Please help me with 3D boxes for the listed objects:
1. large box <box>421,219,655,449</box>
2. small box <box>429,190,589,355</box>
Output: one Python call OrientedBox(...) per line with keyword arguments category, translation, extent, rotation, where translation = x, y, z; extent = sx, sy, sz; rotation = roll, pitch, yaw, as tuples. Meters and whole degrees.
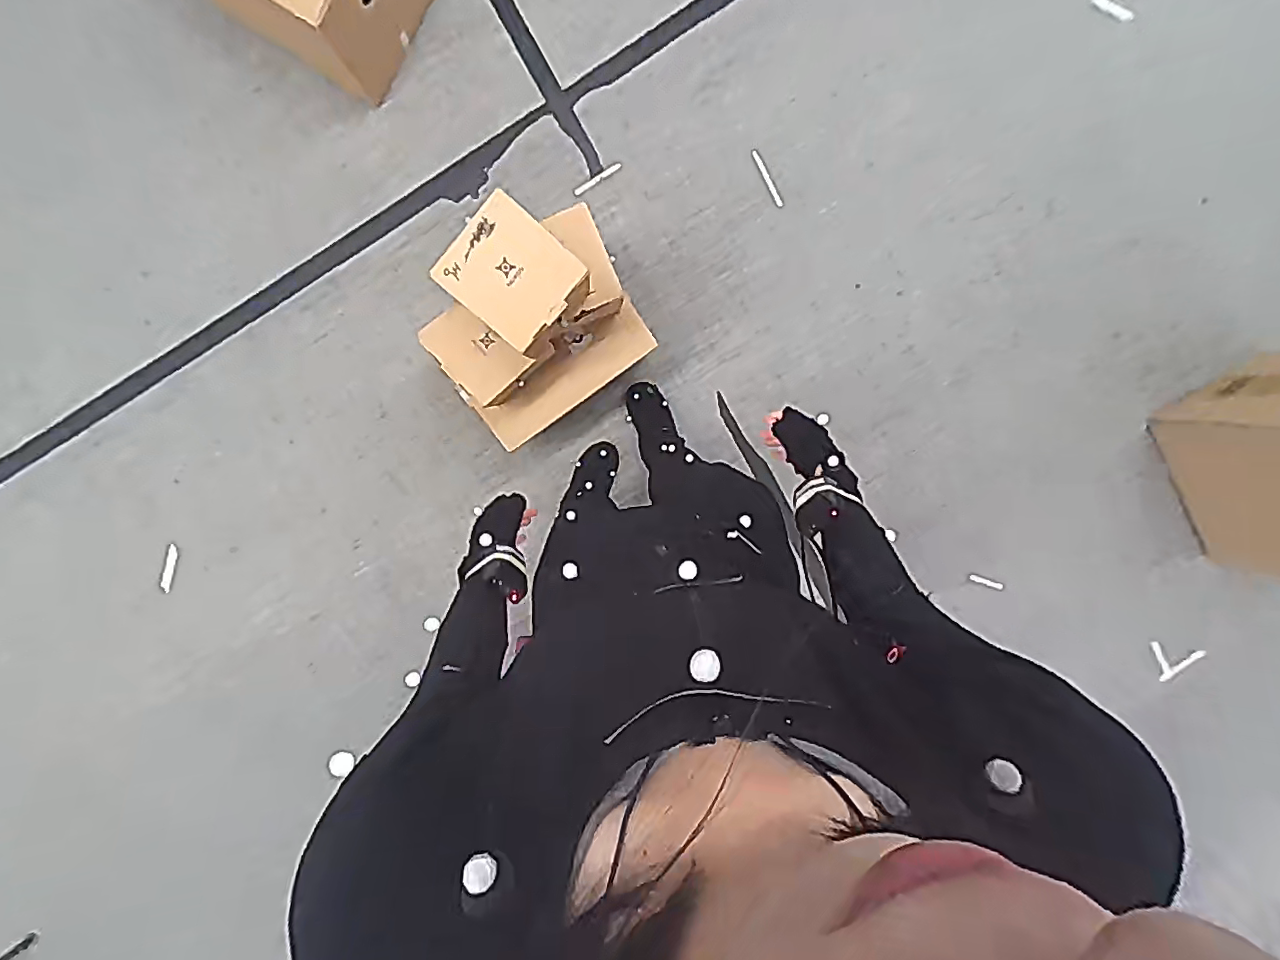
OrientedBox(category="large box", translation=(-0.228, -0.323, 1.287), extent=(0.408, 0.320, 0.320), rotation=(-37, 102, 1))
OrientedBox(category="small box", translation=(-0.200, -0.321, 0.876), extent=(0.179, 0.176, 0.168), rotation=(40, 94, -11))
